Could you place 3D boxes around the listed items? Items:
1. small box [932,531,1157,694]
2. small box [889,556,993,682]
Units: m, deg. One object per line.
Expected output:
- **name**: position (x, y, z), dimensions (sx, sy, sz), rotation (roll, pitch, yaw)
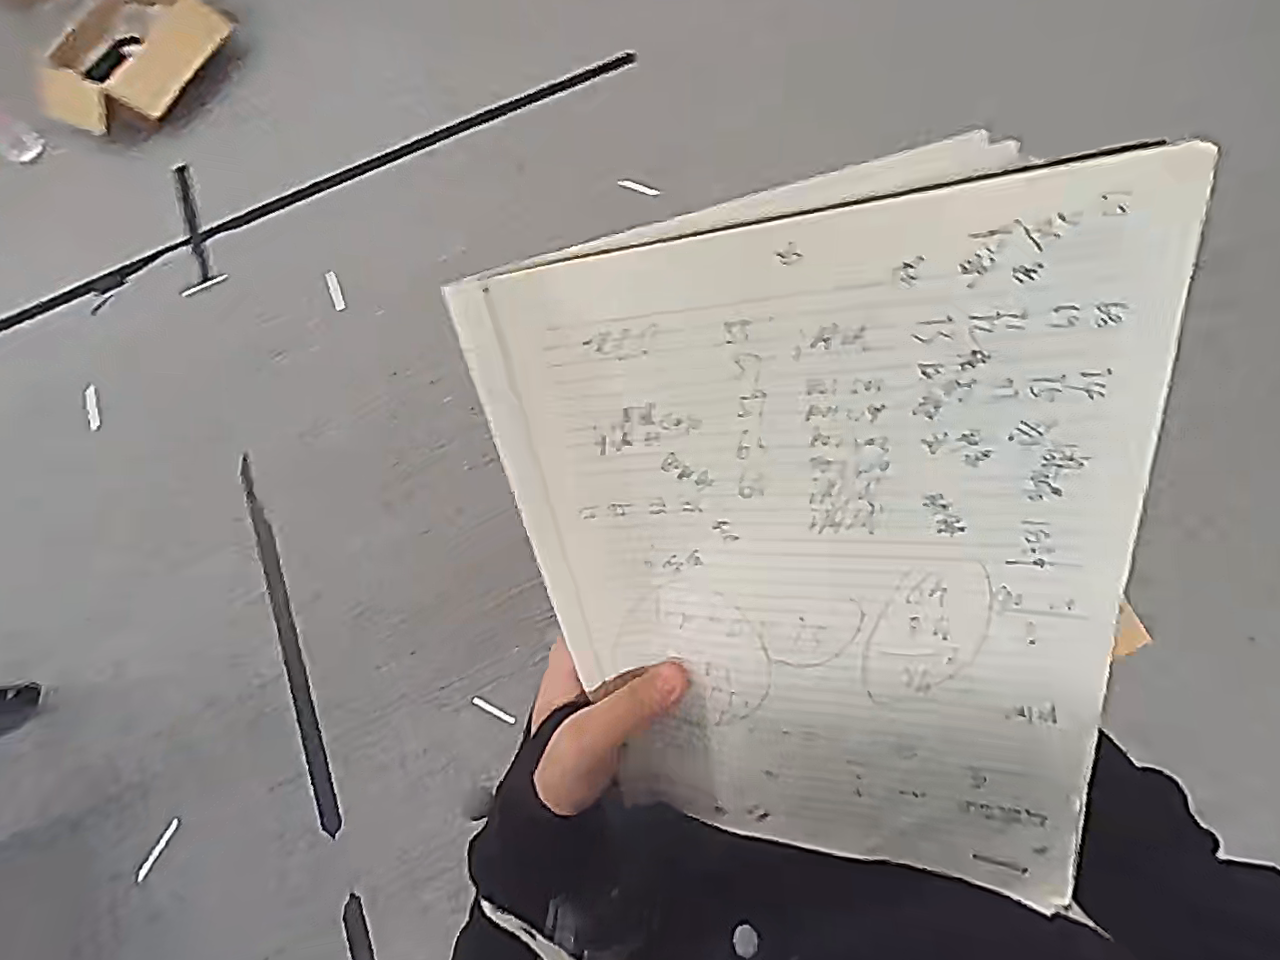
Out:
- **small box**: position (0.557, 0.193, 0.783), dimensions (0.179, 0.176, 0.168), rotation (-22, 74, 0)
- **small box**: position (0.562, 0.240, 0.940), dimensions (0.179, 0.176, 0.168), rotation (-18, 74, -1)
